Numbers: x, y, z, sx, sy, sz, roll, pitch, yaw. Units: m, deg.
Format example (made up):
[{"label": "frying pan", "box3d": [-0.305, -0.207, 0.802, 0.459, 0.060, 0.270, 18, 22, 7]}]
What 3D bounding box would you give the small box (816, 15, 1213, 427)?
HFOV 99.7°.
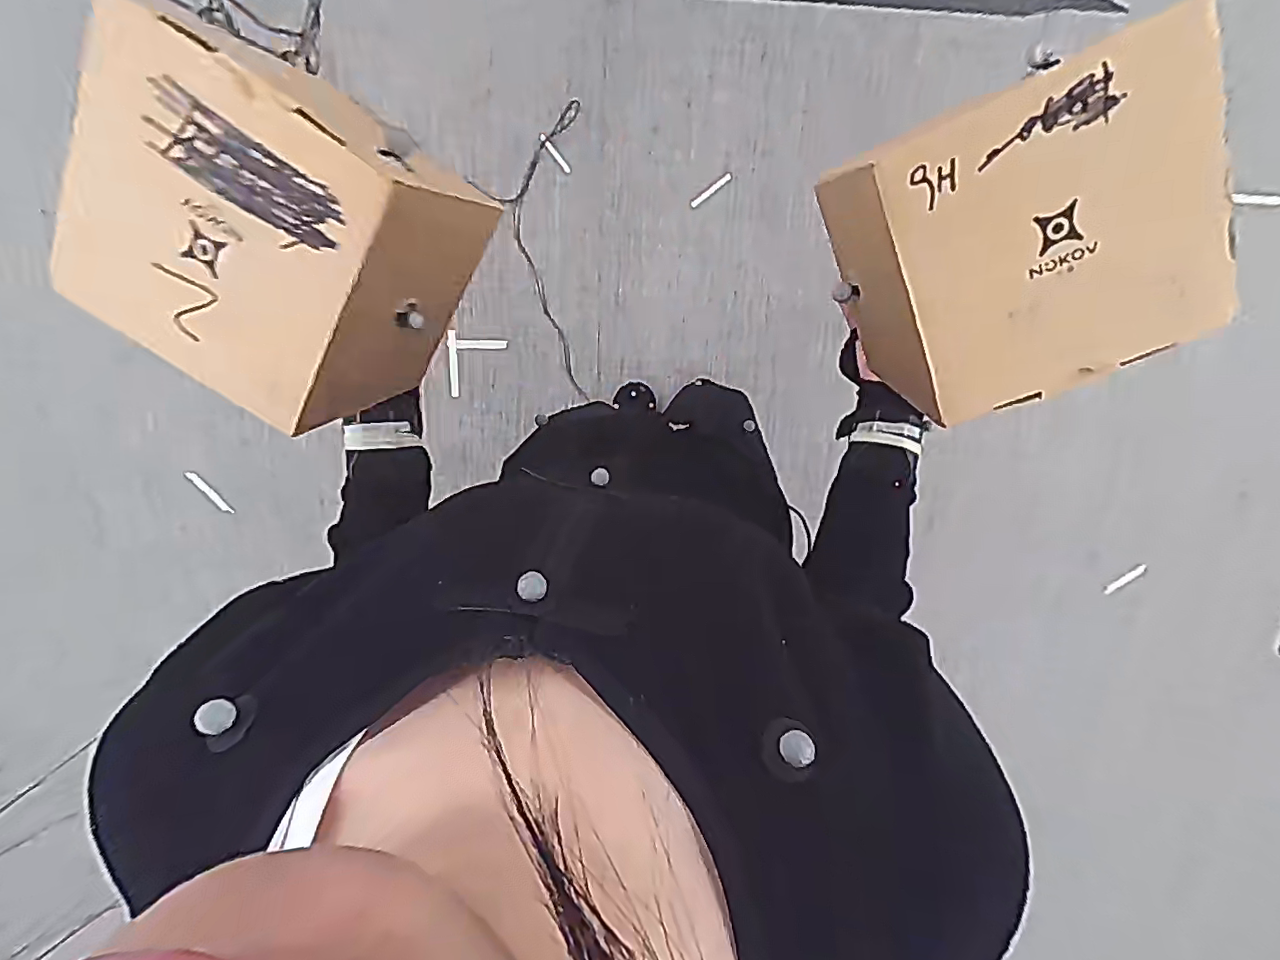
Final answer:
[{"label": "small box", "box3d": [0.245, -0.168, 0.389, 0.168, 0.176, 0.179, -22, 112, 14]}]
